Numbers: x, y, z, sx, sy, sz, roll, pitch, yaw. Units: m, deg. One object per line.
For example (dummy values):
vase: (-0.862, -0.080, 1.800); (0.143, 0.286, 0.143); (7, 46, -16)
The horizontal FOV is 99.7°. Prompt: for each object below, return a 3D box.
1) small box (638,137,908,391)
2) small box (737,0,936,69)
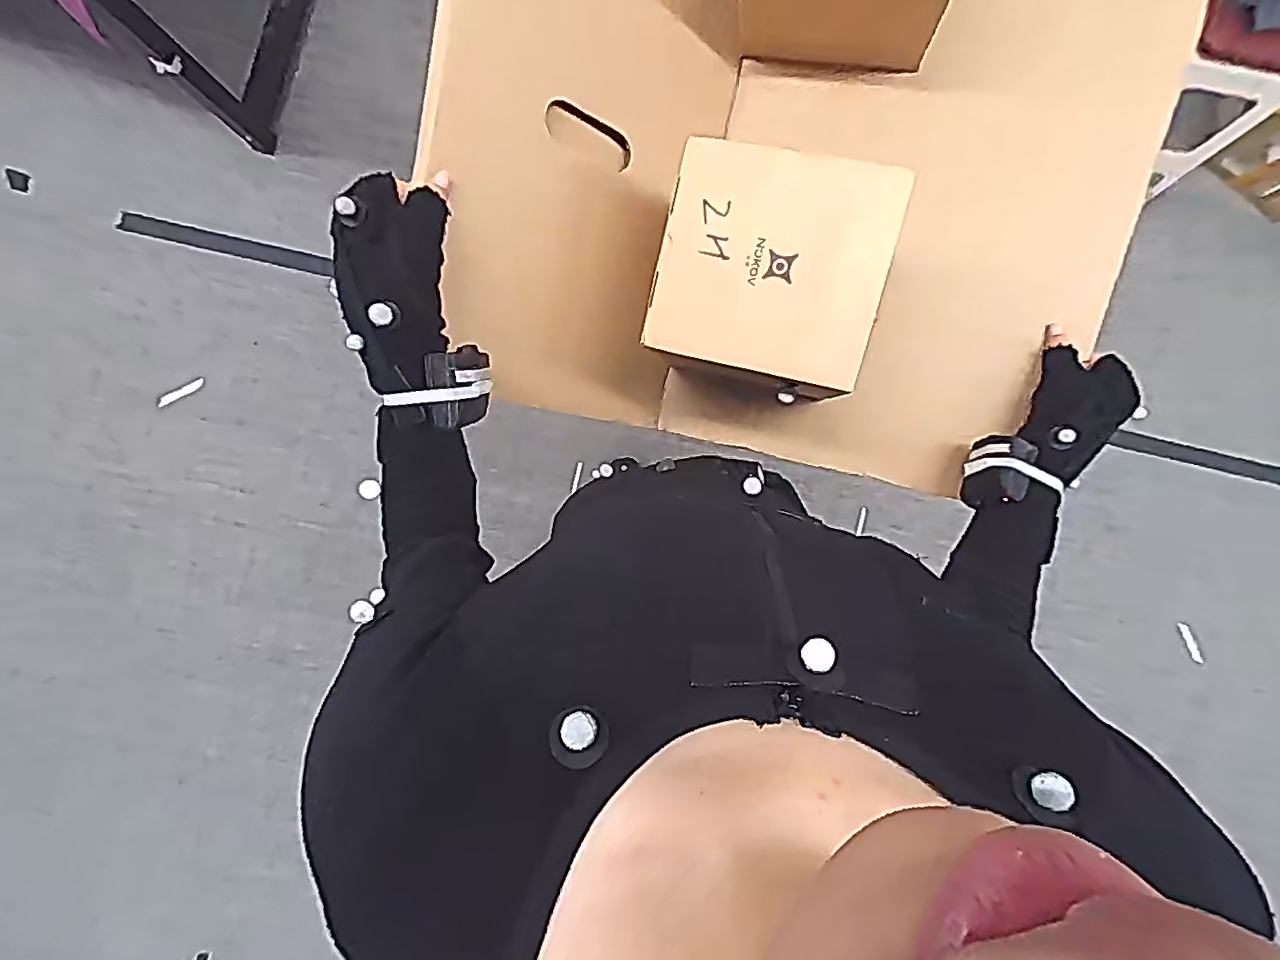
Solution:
small box: (0.116, -0.182, 0.507); (0.179, 0.176, 0.168); (15, 99, 10)
small box: (0.182, -0.491, 0.459); (0.179, 0.176, 0.168); (13, 99, 10)
